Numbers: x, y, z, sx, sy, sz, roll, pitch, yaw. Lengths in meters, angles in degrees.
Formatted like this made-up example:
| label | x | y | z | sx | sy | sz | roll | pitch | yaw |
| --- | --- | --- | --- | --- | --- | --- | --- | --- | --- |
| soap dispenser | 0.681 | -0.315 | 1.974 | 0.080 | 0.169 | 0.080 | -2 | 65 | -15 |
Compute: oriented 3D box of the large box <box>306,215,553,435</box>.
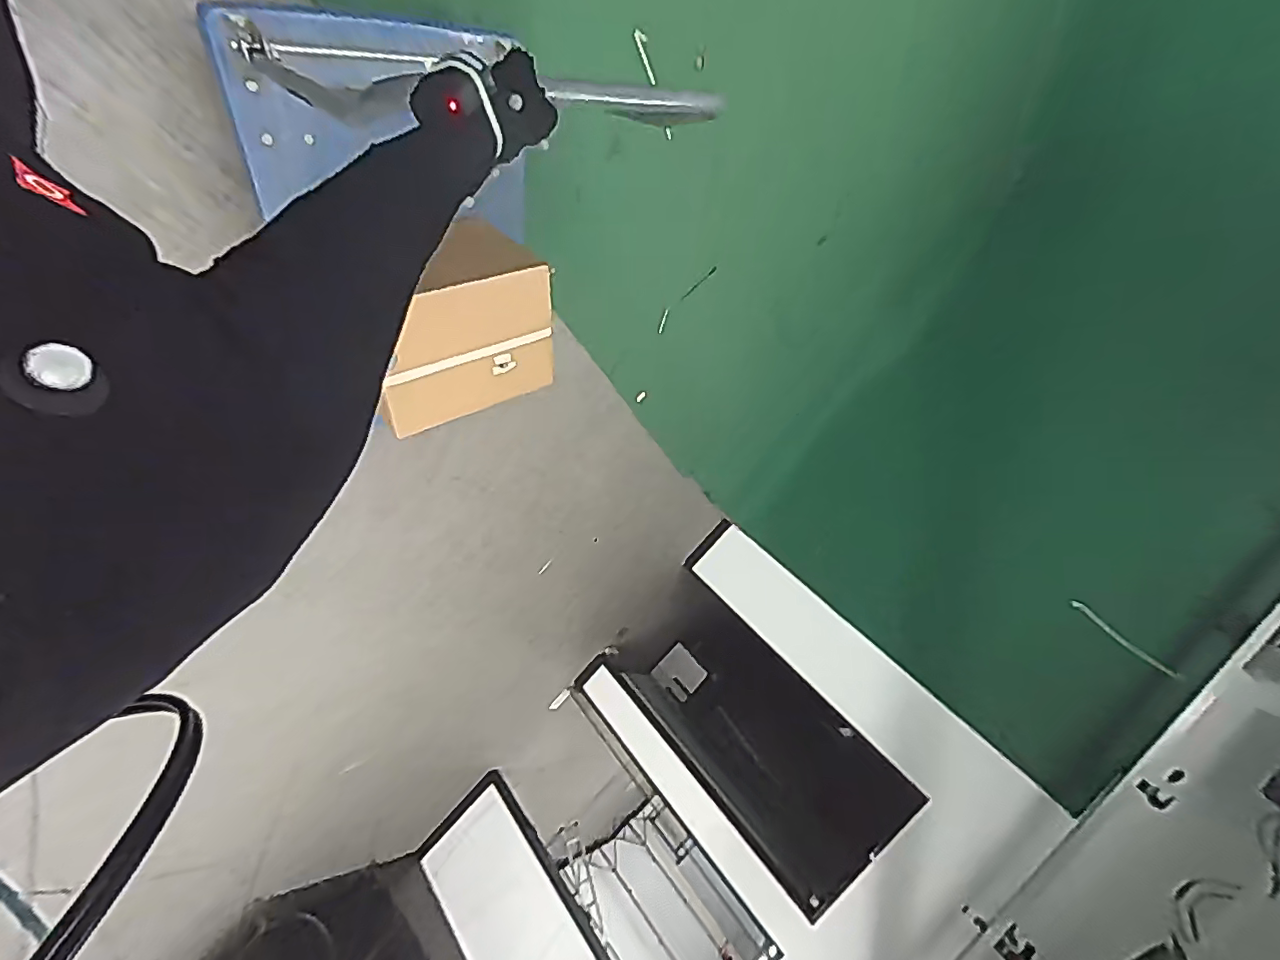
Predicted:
| label | x | y | z | sx | sy | sz | roll | pitch | yaw |
| --- | --- | --- | --- | --- | --- | --- | --- | --- | --- |
| large box | -0.457 | -0.371 | 1.240 | 0.408 | 0.320 | 0.320 | -29 | 146 | -30 |
